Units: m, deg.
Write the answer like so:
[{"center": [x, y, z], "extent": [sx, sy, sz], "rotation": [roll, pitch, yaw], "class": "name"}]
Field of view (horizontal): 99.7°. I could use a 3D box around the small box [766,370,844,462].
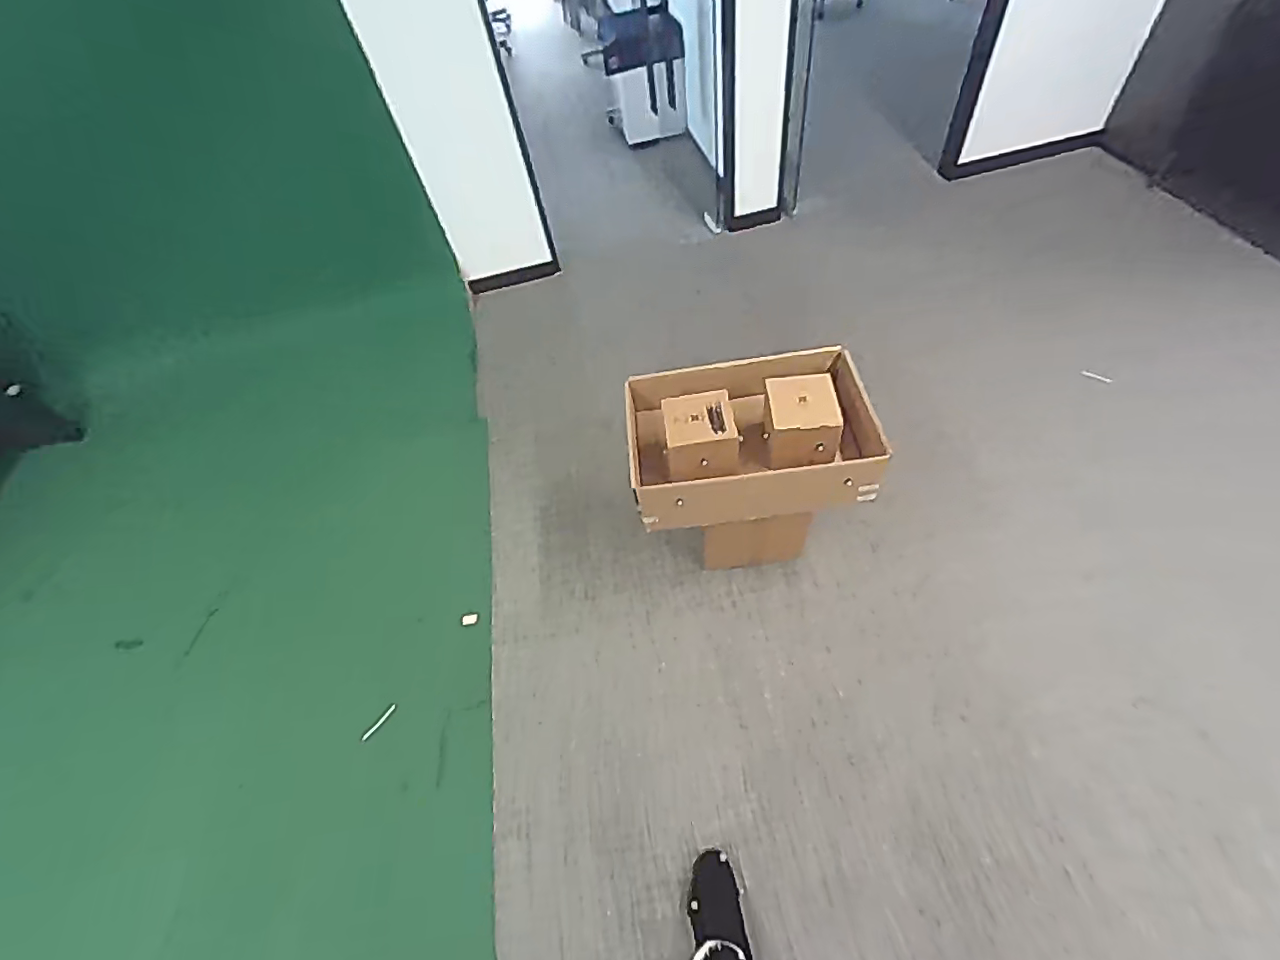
[{"center": [0.421, -0.159, 1.405], "extent": [0.168, 0.176, 0.179], "rotation": [-4, 55, 7], "class": "small box"}]
